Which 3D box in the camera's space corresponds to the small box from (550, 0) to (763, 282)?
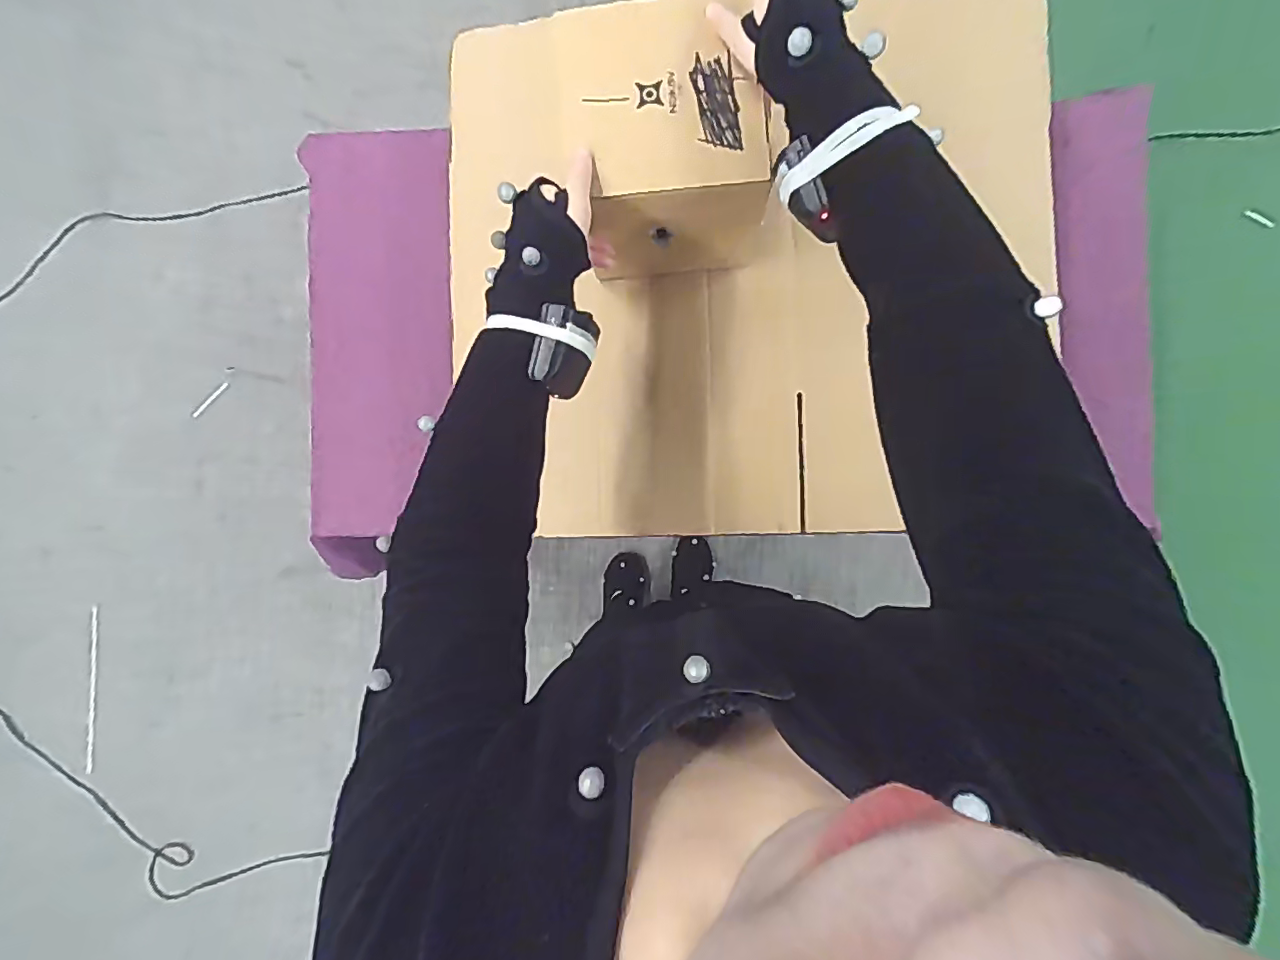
[{"bbox_3d":[0.020,-0.312,0.535,0.179,0.176,0.168,-3,88,7],"label":"small box"}]
